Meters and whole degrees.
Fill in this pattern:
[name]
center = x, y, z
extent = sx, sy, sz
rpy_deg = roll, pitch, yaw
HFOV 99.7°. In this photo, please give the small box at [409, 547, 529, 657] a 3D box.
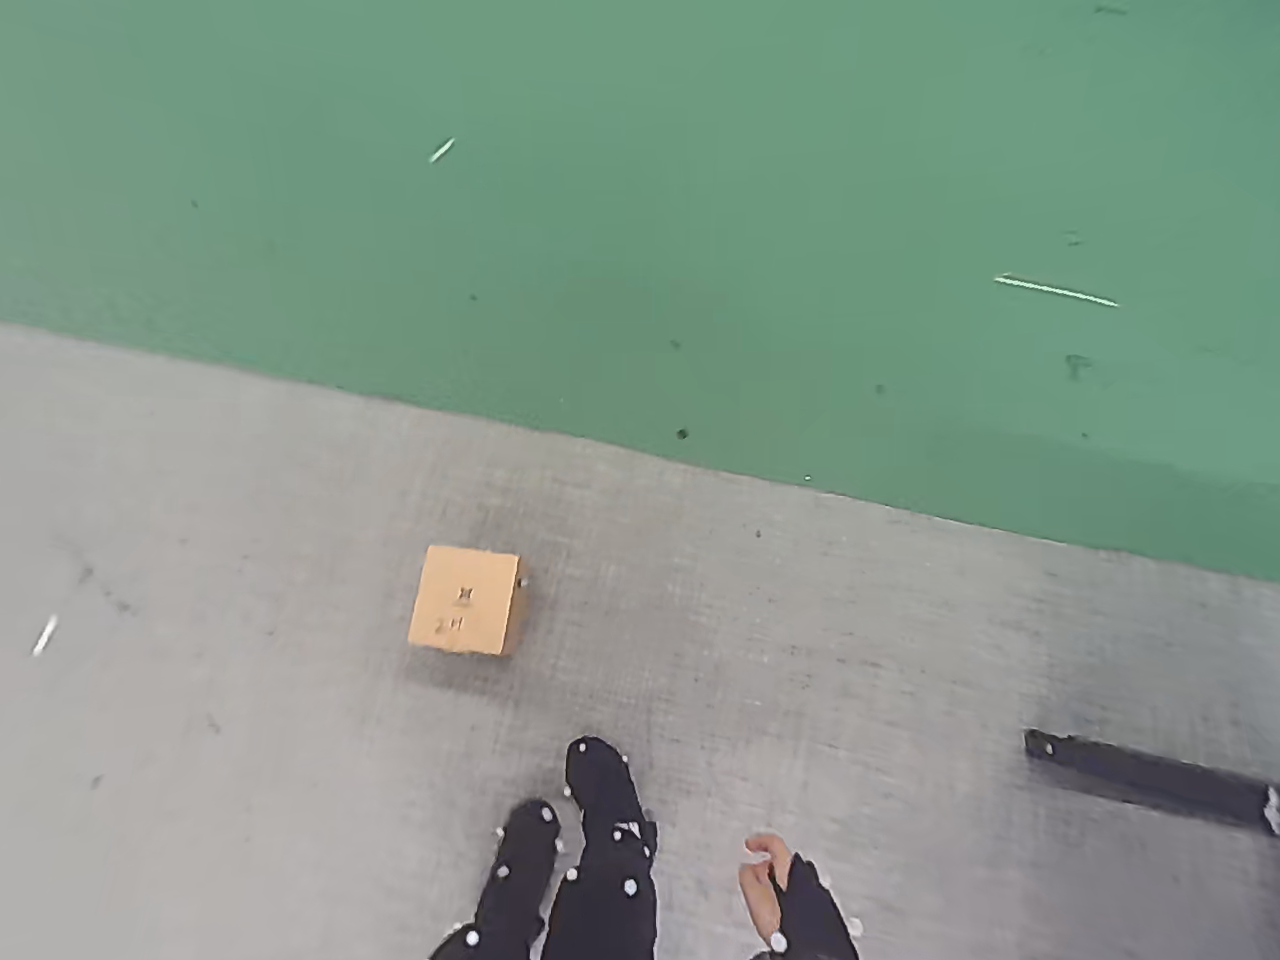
[small box]
center = -0.313, 0.236, 1.031
extent = 0.168, 0.176, 0.179
rpy_deg = 7, 74, 0
